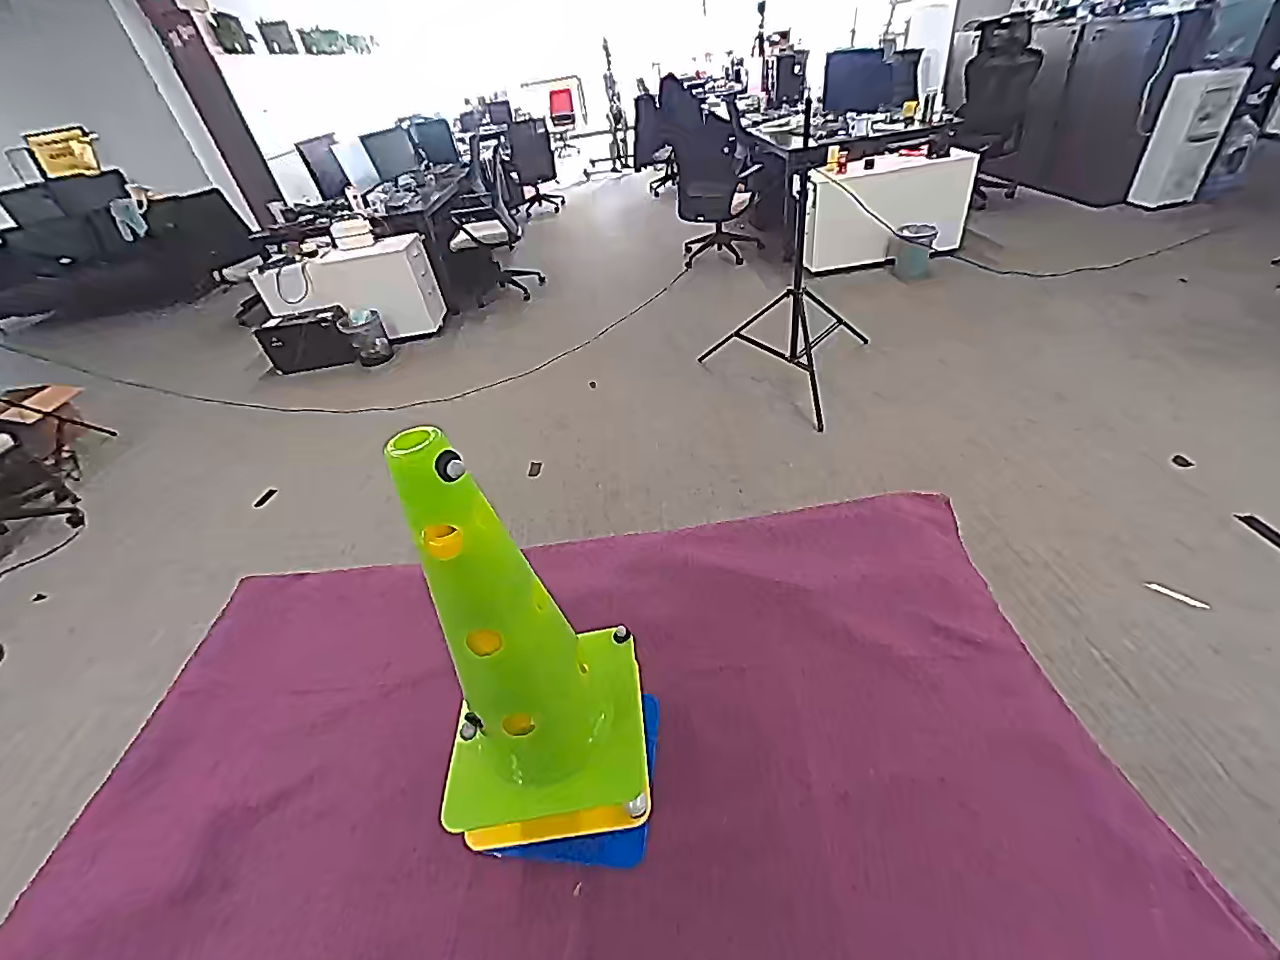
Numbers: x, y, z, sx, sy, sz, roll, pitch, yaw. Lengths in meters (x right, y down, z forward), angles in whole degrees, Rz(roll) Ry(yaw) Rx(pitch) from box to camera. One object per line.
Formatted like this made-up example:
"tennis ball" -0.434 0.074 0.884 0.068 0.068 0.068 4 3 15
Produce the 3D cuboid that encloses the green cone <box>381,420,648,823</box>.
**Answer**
"green cone" -0.128 0.108 0.474 0.200 0.368 0.202 -12 37 1
